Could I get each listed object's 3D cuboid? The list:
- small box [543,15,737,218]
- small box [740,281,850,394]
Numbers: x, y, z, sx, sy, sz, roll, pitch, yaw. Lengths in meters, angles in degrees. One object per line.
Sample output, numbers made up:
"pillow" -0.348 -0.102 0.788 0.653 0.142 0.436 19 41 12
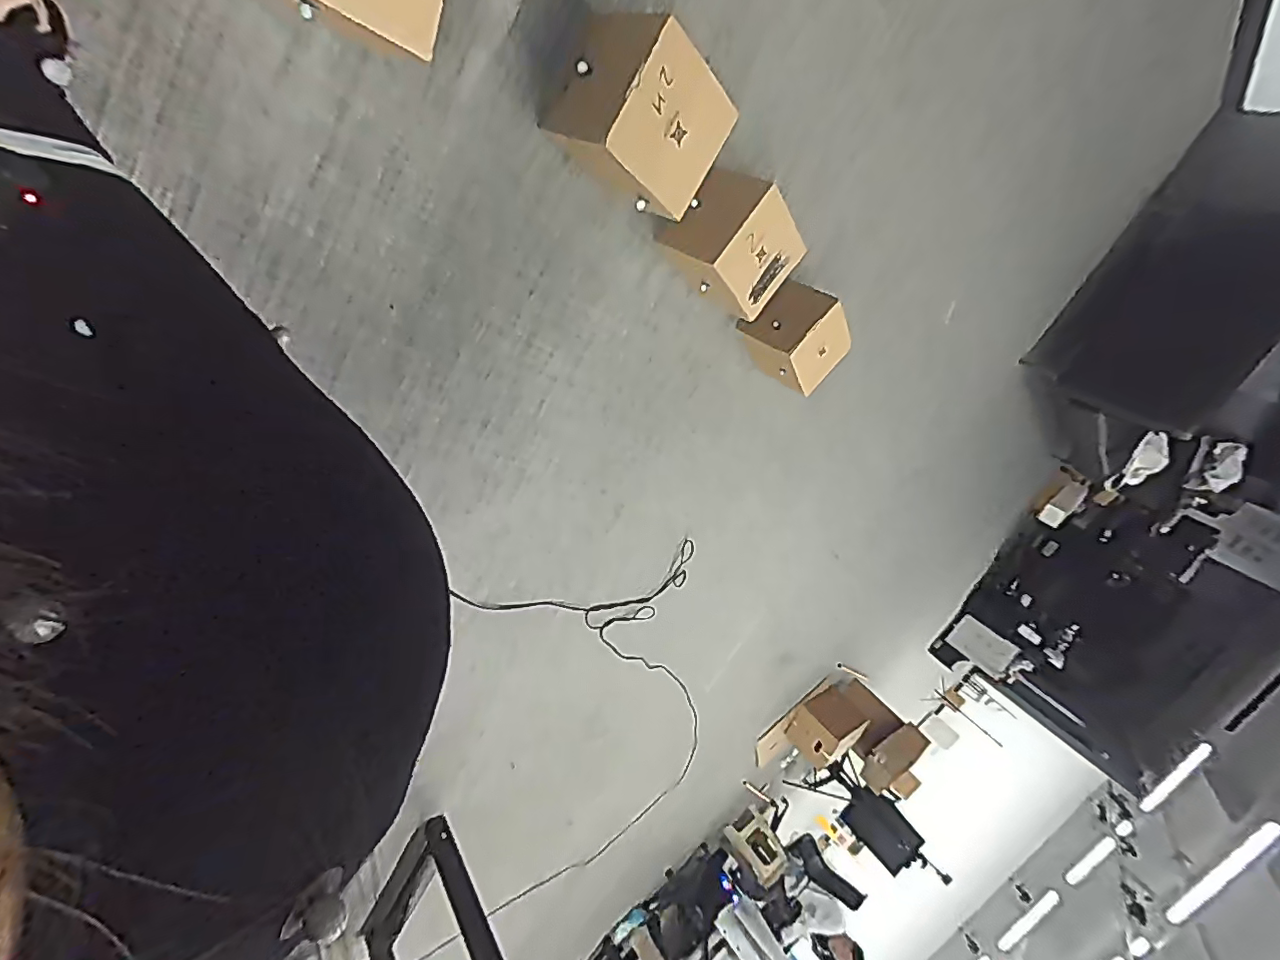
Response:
"small box" -0.003 -0.513 0.769 0.179 0.176 0.168 18 108 -48
"small box" 0.360 -0.340 1.266 0.168 0.176 0.179 -48 143 0
